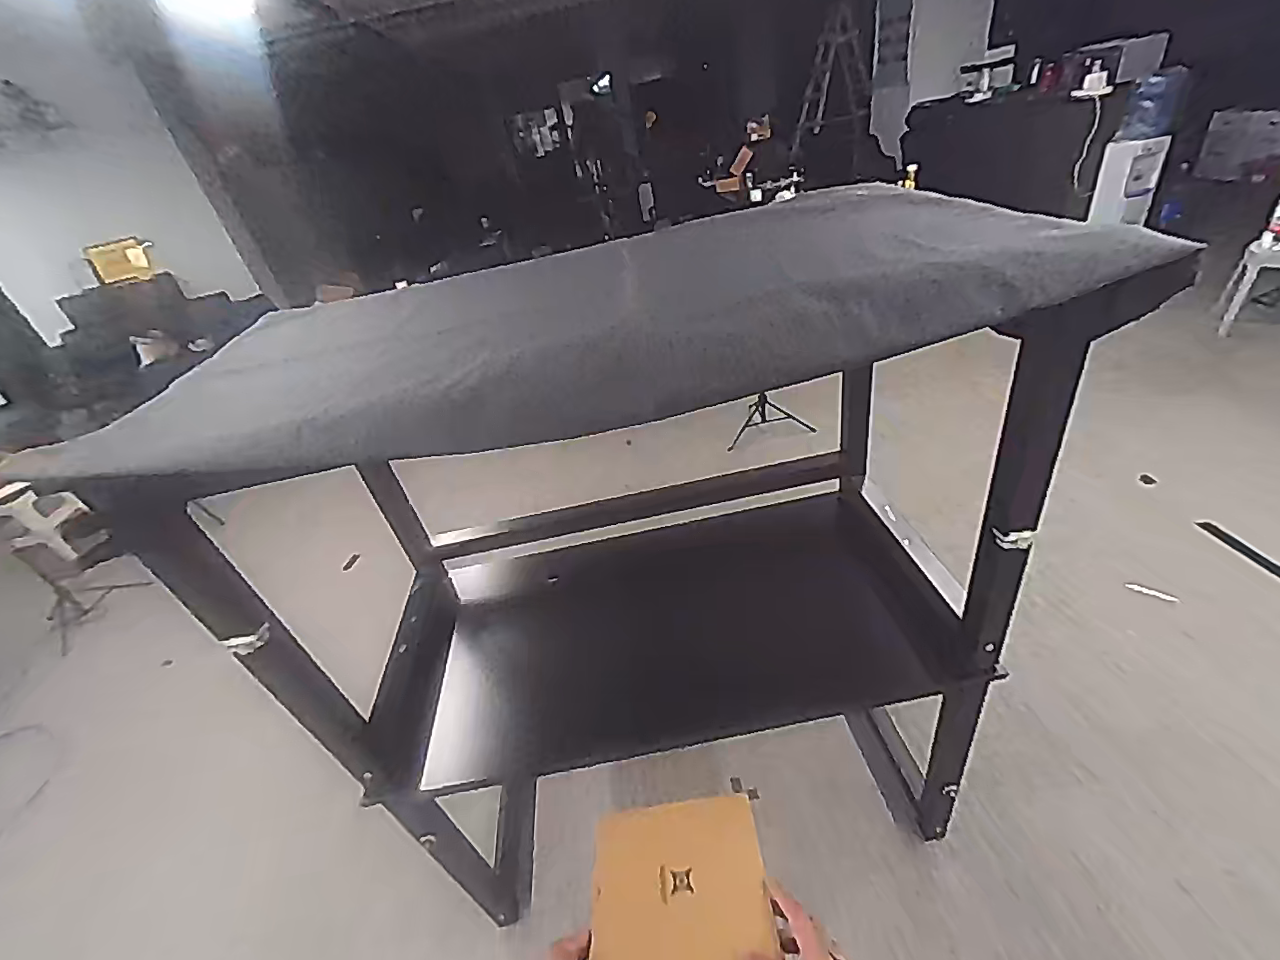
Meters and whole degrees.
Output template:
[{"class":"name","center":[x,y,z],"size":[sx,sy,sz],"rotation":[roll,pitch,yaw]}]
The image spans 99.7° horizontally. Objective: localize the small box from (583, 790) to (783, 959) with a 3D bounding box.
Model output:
[{"class":"small box","center":[0.048,0.461,0.560],"size":[0.179,0.176,0.168],"rotation":[-11,22,4]}]
